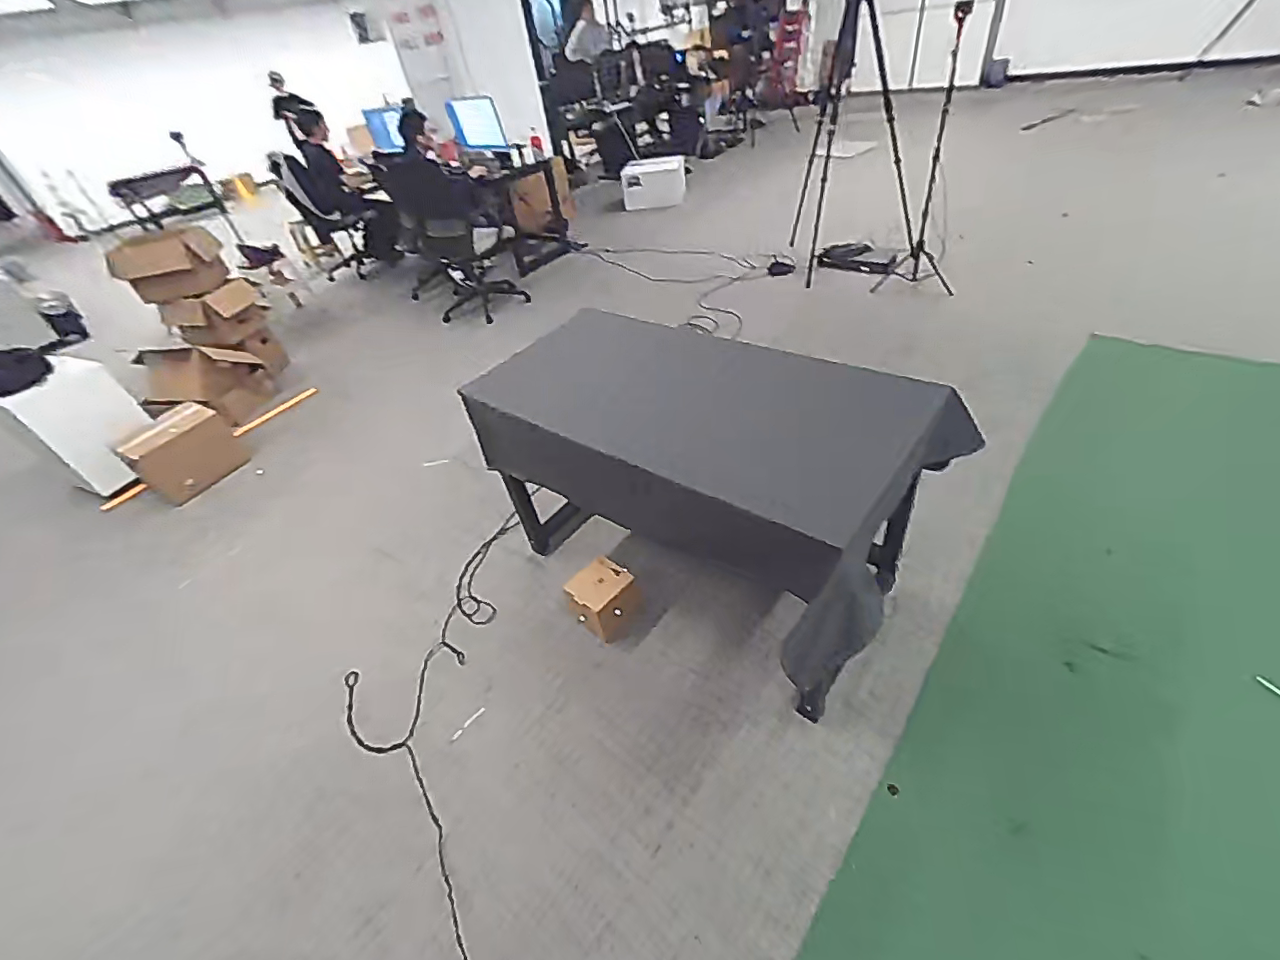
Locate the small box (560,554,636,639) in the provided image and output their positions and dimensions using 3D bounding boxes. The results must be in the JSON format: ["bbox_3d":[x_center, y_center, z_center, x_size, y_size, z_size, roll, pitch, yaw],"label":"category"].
[{"bbox_3d":[-0.130,0.382,1.767,0.168,0.176,0.179,28,53,36],"label":"small box"}]
